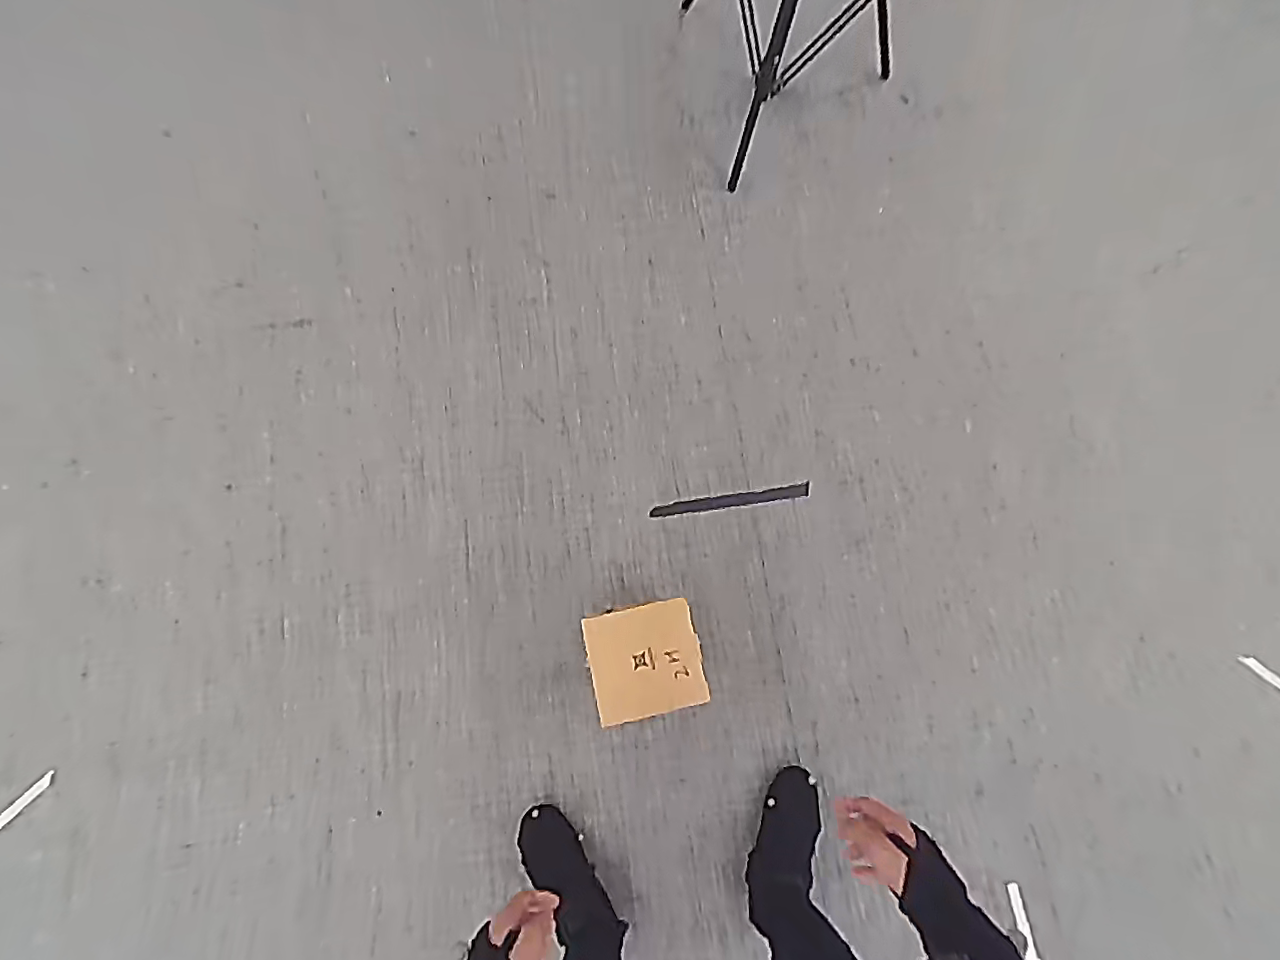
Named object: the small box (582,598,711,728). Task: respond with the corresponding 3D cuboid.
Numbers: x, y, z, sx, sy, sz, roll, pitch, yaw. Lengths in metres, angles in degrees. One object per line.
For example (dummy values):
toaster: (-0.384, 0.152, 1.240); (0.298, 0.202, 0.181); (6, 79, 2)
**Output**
small box: (0.009, 0.300, 0.915); (0.179, 0.176, 0.168); (-12, 78, -3)
